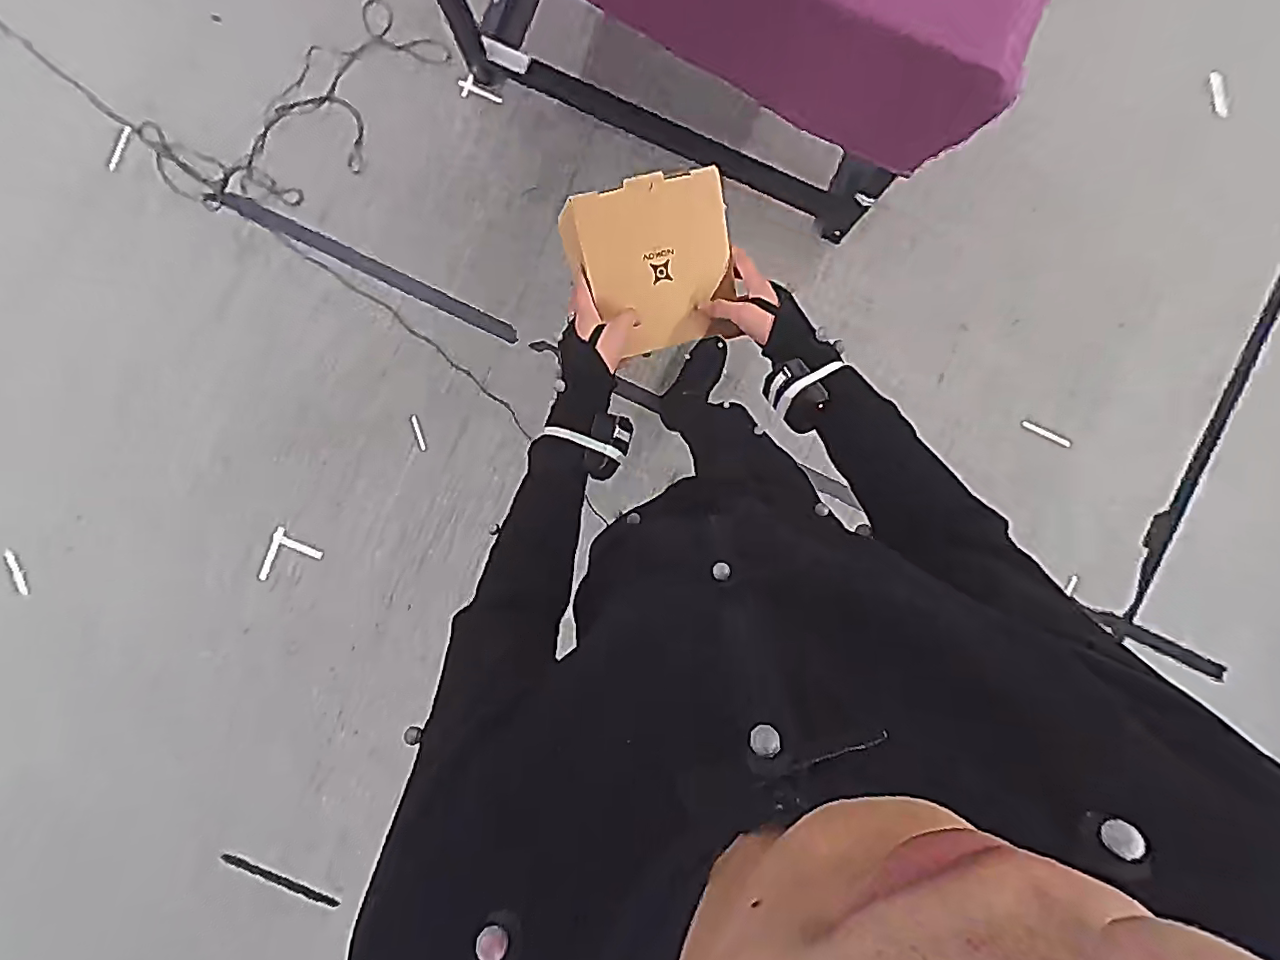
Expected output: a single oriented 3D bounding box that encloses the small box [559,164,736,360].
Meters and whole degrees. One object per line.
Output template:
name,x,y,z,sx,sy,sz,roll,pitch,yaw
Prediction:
small box,0.002,-0.259,0.664,0.168,0.176,0.179,-16,109,-6
